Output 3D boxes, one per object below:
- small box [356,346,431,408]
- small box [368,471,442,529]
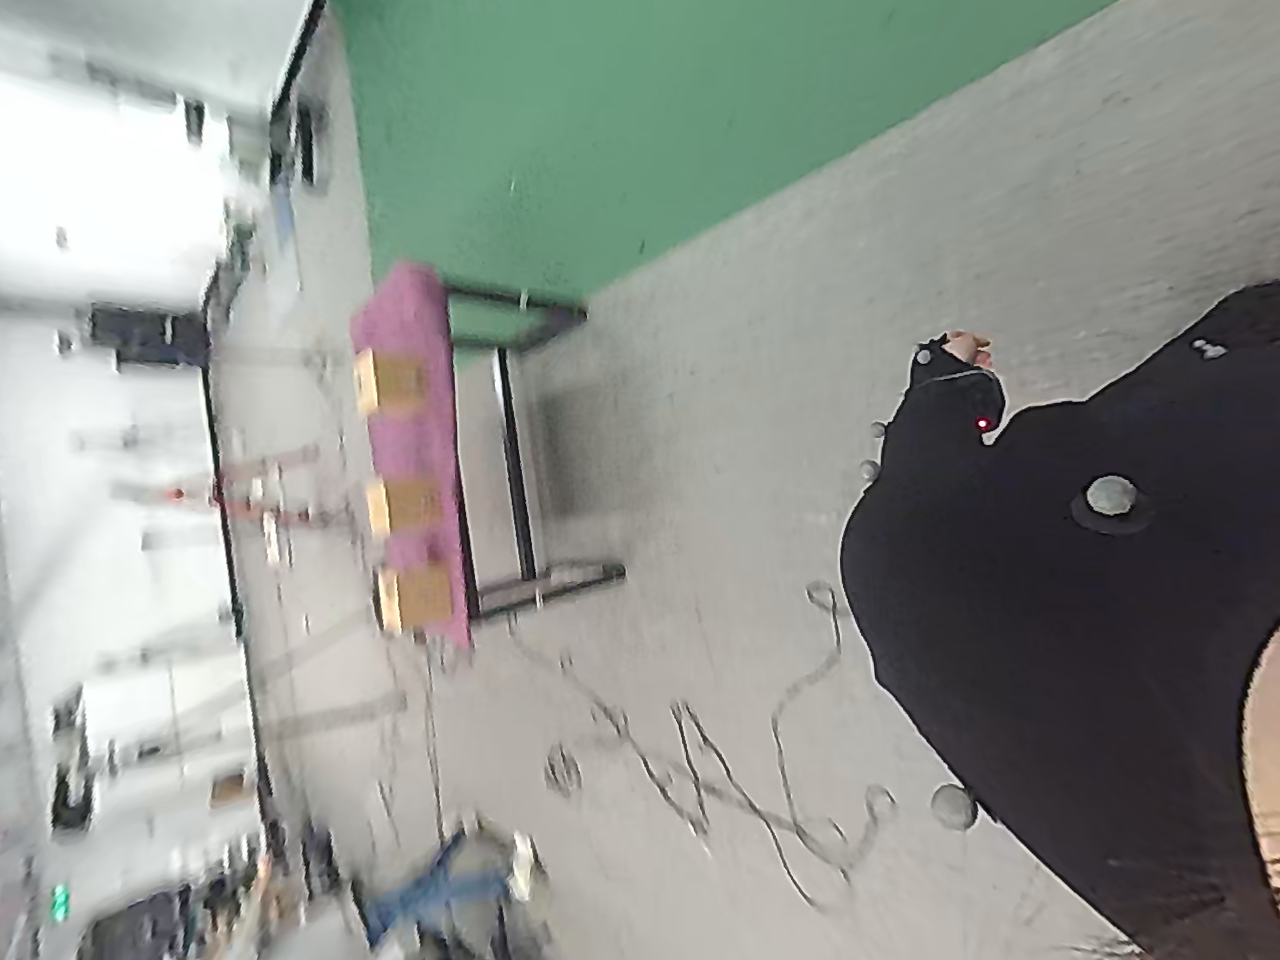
[{"bbox_3d":[-0.801,-0.328,1.759,0.179,0.176,0.168,-8,89,44],"label":"small box"},{"bbox_3d":[-0.769,0.066,1.773,0.179,0.176,0.168,-11,88,46],"label":"small box"}]
